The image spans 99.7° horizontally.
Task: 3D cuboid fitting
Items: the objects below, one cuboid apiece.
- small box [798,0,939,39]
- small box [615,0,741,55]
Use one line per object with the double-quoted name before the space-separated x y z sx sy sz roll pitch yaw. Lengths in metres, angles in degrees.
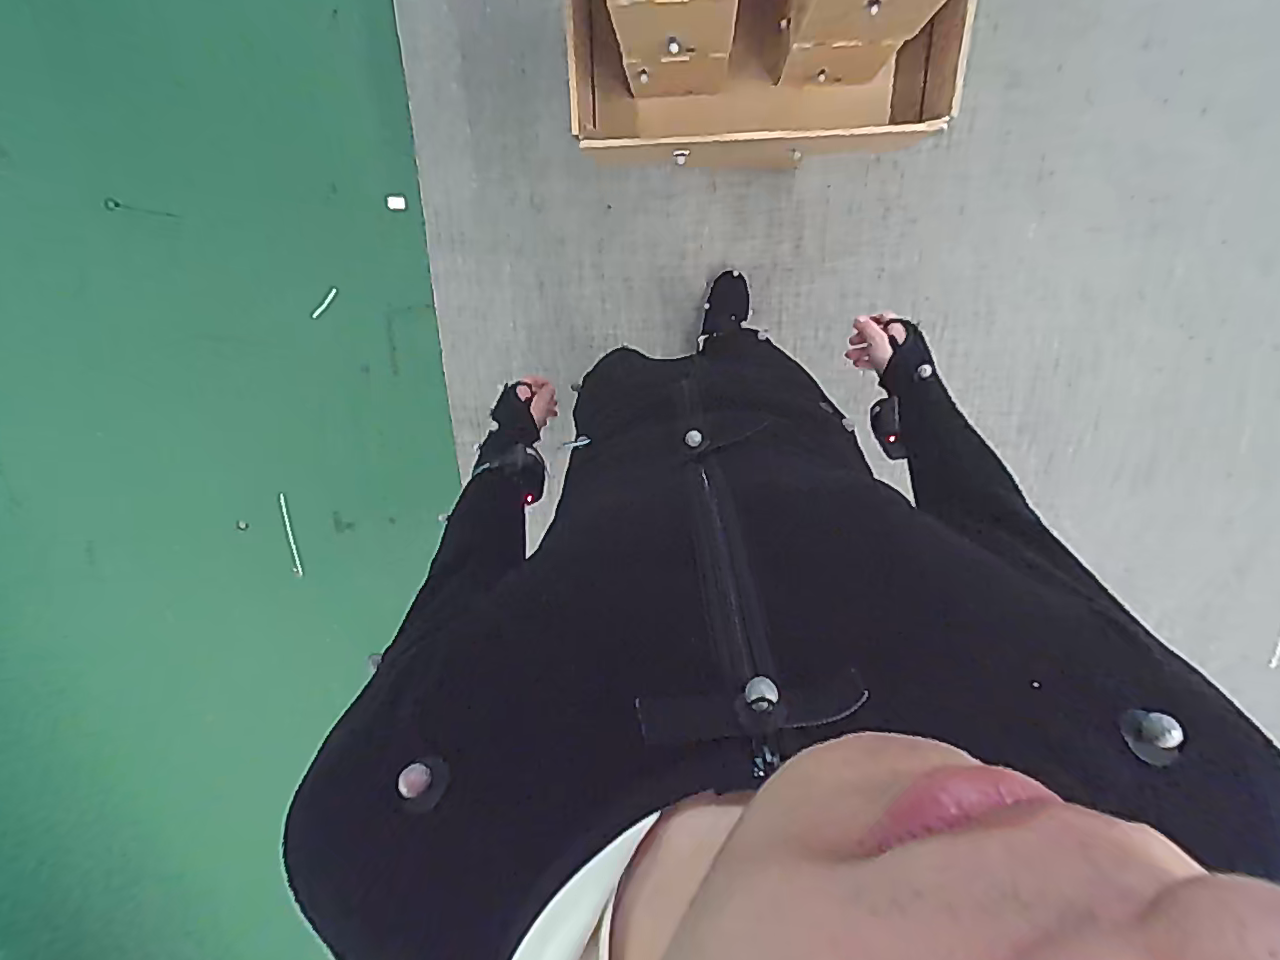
"small box" 0.310 -0.699 0.694 0.179 0.176 0.168 2 111 4
"small box" 0.050 -0.704 0.714 0.168 0.176 0.179 1 109 5
